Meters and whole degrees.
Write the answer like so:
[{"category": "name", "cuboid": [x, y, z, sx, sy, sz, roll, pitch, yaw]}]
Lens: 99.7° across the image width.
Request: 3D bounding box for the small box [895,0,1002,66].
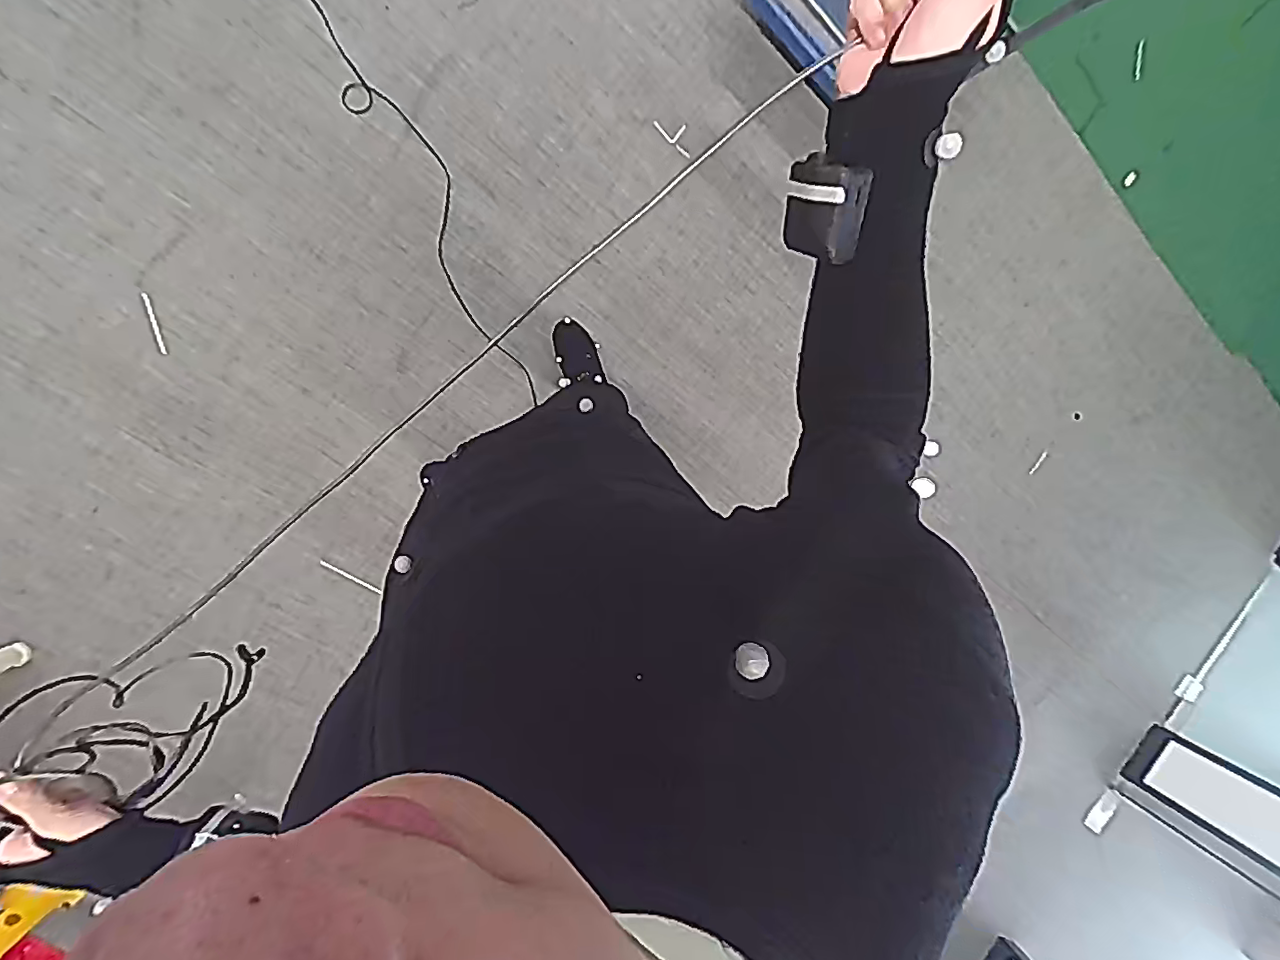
[{"category": "small box", "cuboid": [0.791, -1.216, 1.366, 0.168, 0.176, 0.179, 37, 91, -17]}]
